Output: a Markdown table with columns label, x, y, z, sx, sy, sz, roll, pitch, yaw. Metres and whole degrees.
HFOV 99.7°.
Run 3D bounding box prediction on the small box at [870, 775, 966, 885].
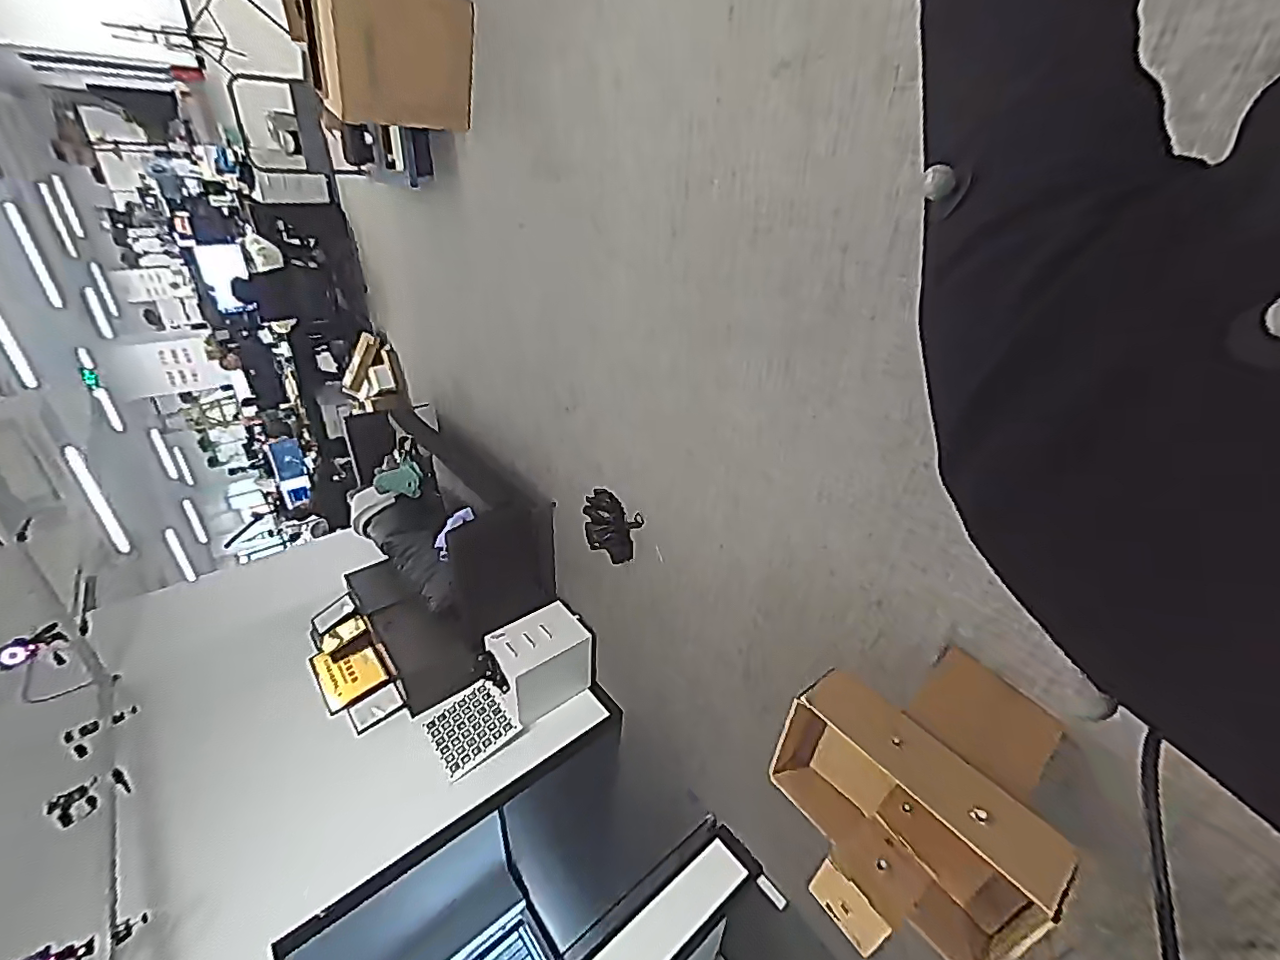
| label | x | y | z | sx | sy | sz | roll | pitch | yaw |
| --- | --- | --- | --- | --- | --- | --- | --- | --- | --- |
| small box | 0.662 | 0.872 | 1.329 | 0.168 | 0.176 | 0.179 | 40 | 139 | 39 |

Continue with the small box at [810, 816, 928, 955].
| label | x | y | z | sx | sy | sz | roll | pitch | yaw |
| --- | --- | --- | --- | --- | --- | --- | --- | --- | --- |
| small box | 0.529 | 0.927 | 1.248 | 0.168 | 0.176 | 0.179 | 40 | 136 | 40 |
